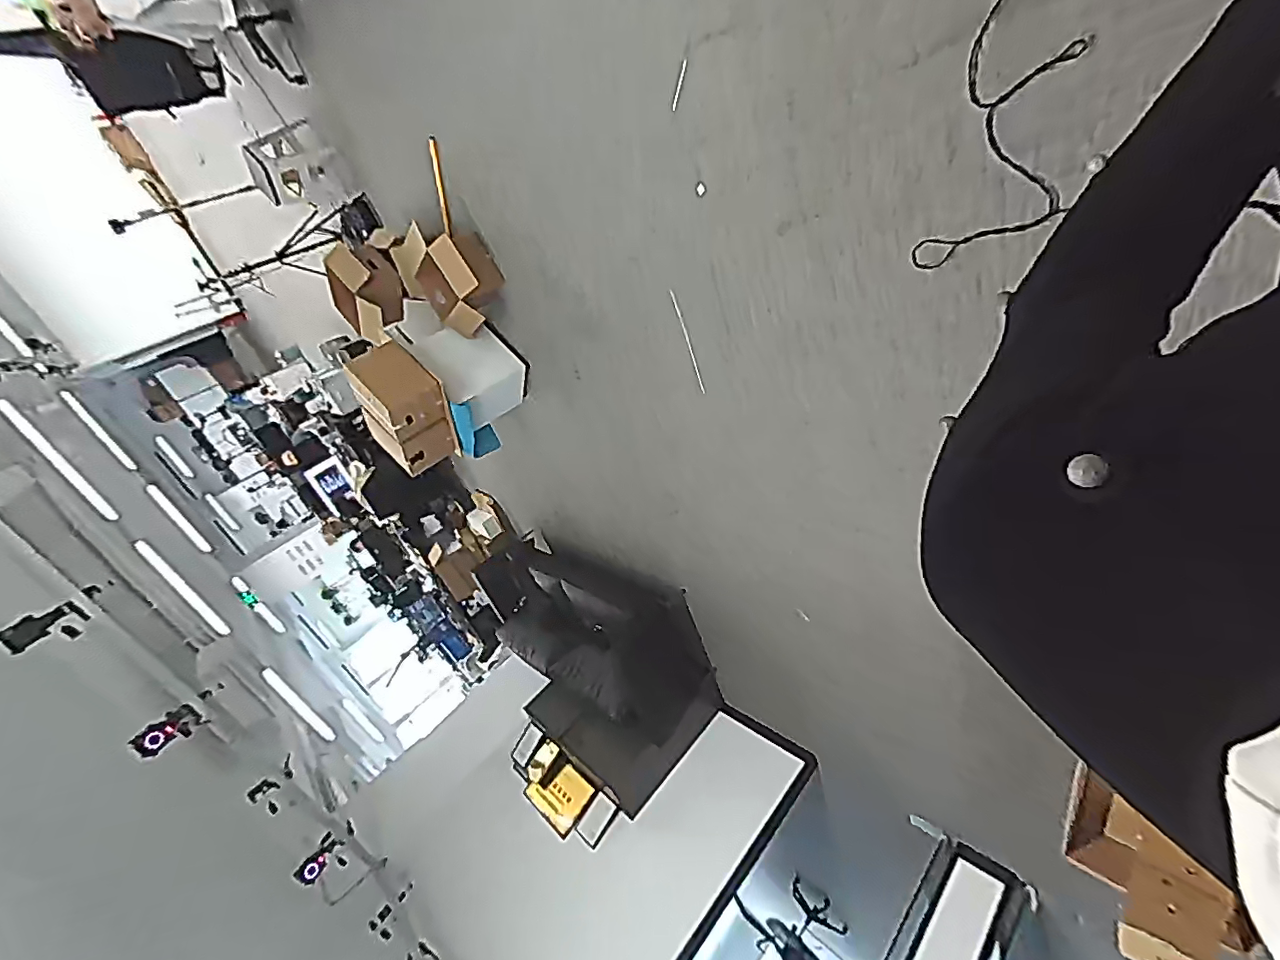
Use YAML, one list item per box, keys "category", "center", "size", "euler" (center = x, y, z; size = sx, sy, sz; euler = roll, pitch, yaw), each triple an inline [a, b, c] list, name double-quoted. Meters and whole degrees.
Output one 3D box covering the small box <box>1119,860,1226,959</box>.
- category: "small box"
  center: [1.318, 1.101, 1.341]
  size: [0.168, 0.176, 0.179]
  euler: [11, 131, 51]
